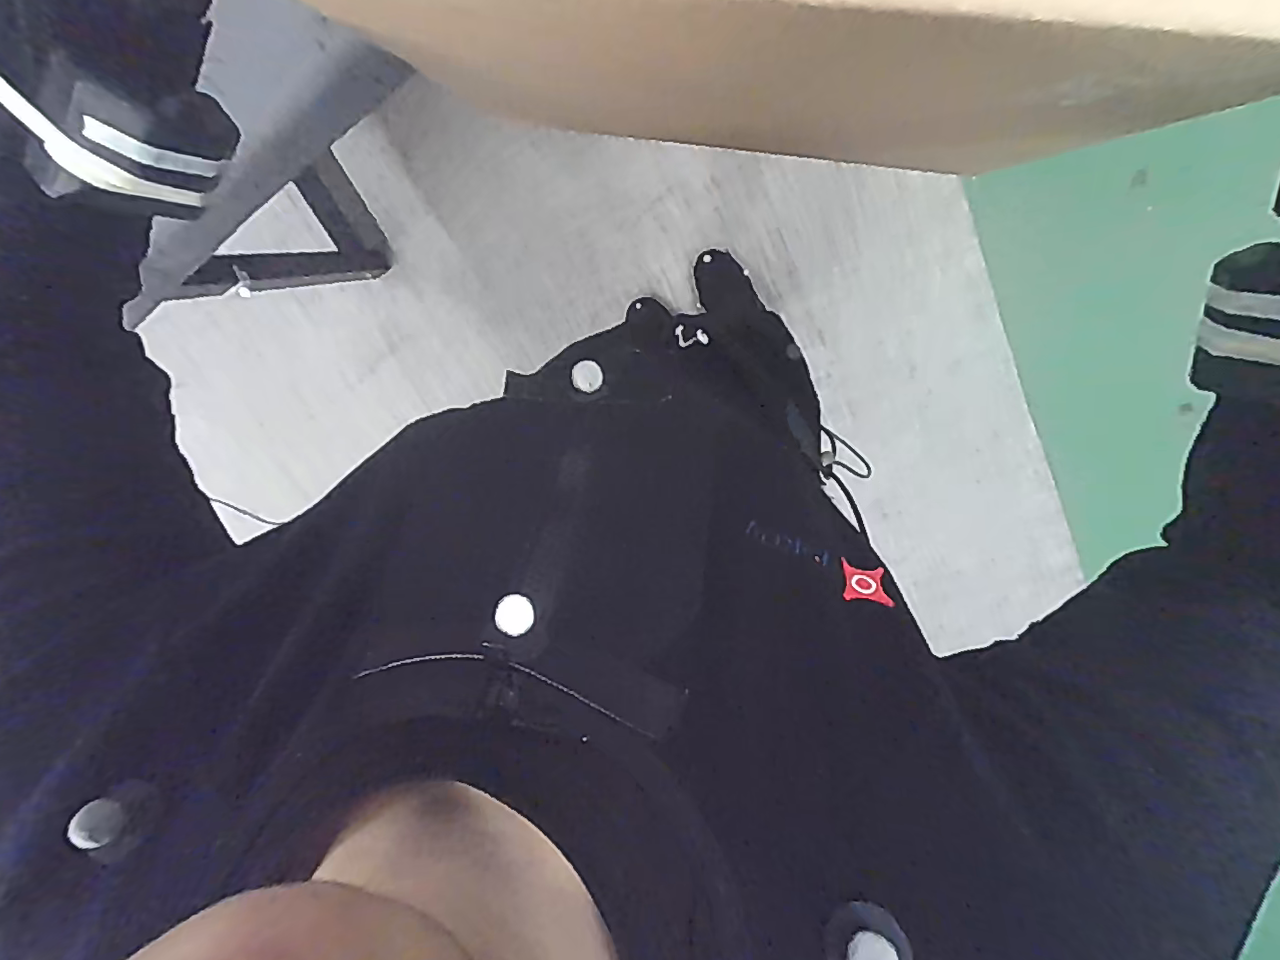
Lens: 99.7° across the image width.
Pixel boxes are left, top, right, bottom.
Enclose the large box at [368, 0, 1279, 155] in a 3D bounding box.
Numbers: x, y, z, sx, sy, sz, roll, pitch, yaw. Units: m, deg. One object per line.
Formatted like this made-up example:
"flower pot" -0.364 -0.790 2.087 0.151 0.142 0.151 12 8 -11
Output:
"large box" 0.082 -0.370 0.257 0.408 0.320 0.320 8 114 3
